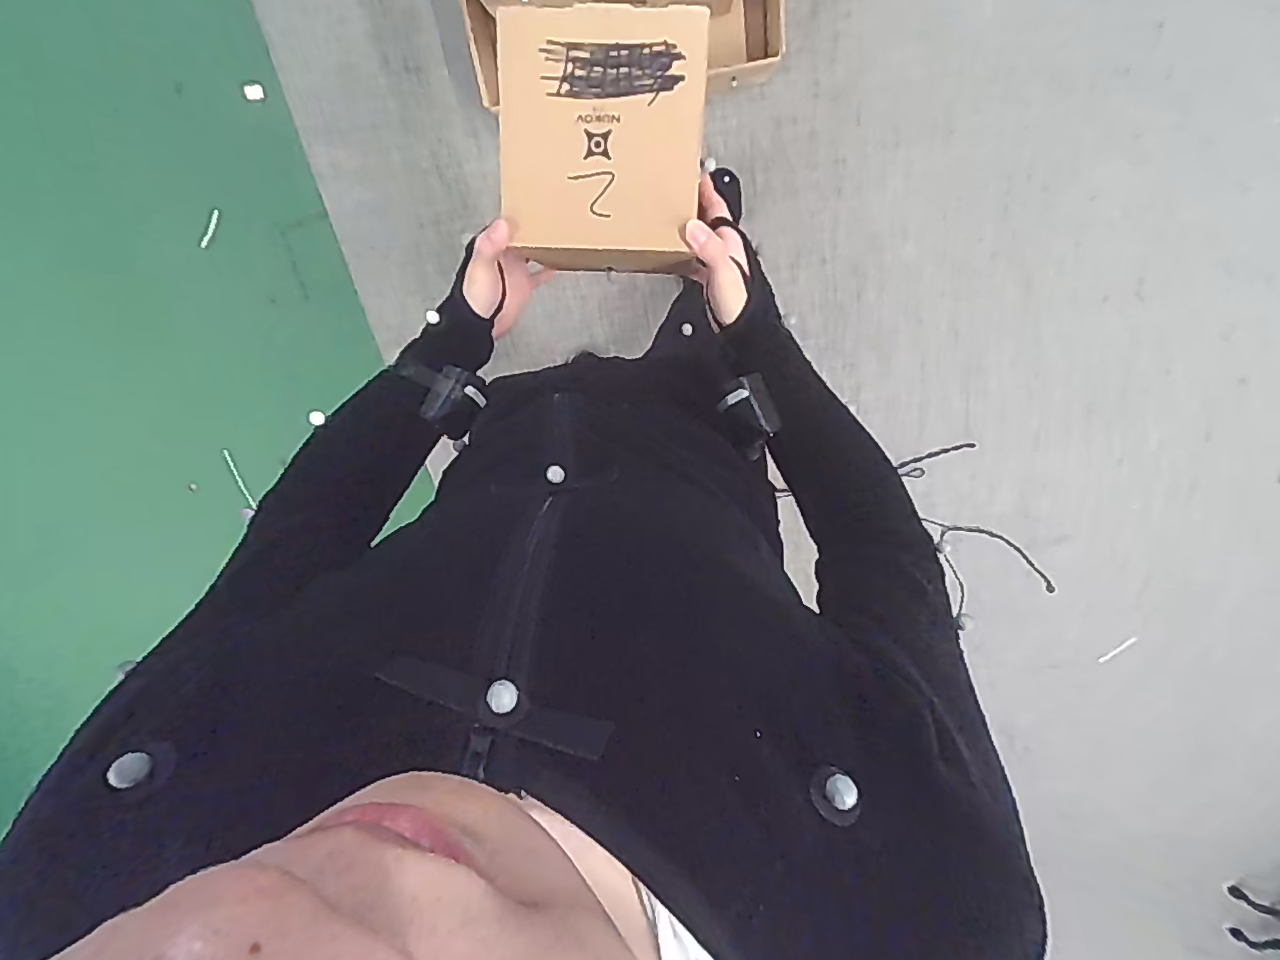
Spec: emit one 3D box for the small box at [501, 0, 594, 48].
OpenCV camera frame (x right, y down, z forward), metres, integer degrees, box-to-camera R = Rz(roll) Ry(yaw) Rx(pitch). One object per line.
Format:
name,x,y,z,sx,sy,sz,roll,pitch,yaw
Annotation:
small box,-0.189,-0.975,1.055,0.168,0.176,0.179,-6,117,6

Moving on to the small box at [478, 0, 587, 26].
small box,-0.192,-0.901,0.911,0.168,0.176,0.179,-7,116,6
